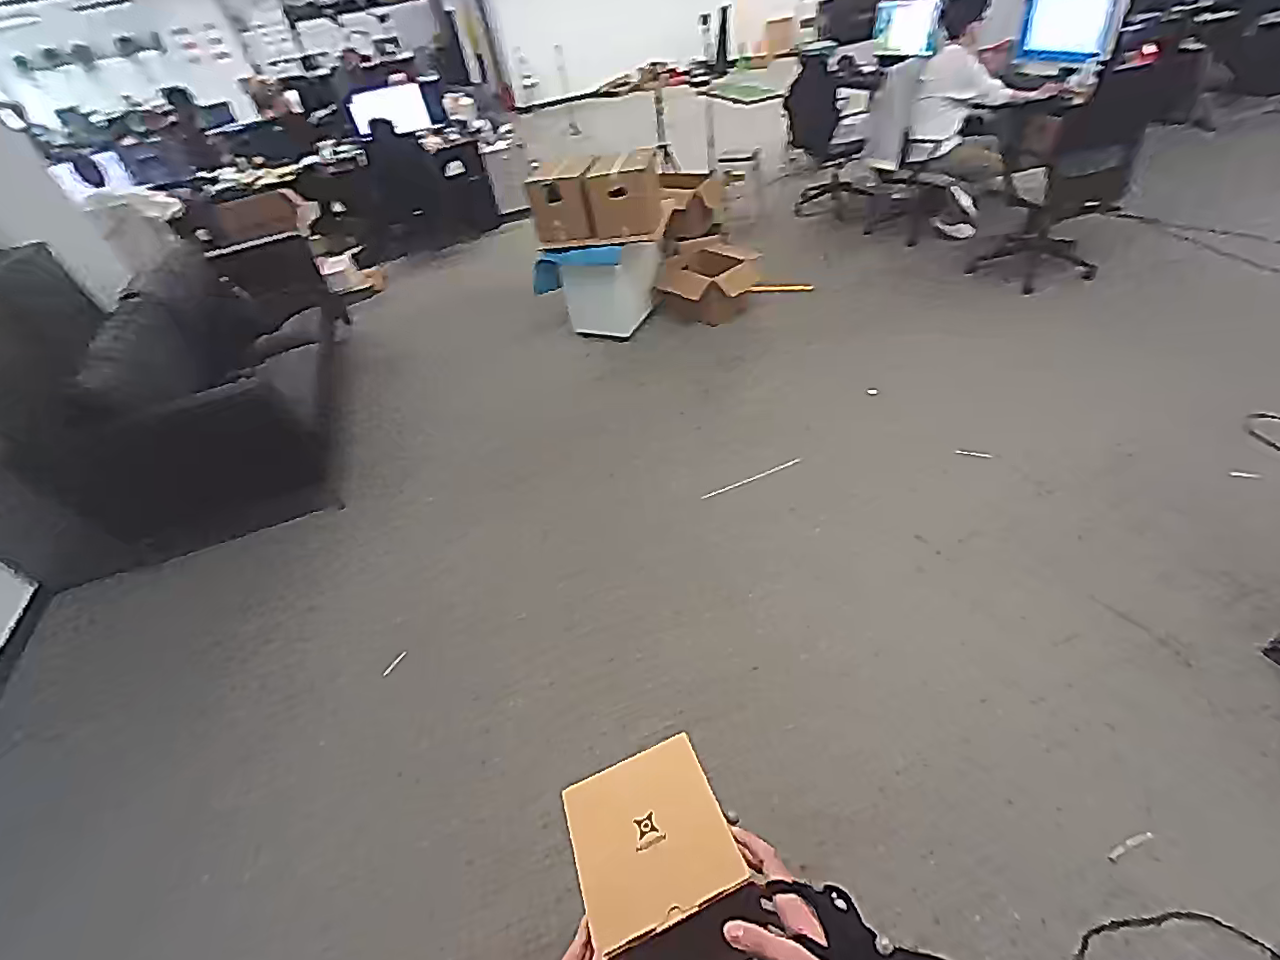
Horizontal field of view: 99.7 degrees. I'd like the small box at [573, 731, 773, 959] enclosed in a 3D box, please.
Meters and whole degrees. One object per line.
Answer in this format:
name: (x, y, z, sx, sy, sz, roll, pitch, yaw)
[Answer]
small box: (0.036, 0.441, 0.626, 0.168, 0.176, 0.179, -21, 31, -8)
